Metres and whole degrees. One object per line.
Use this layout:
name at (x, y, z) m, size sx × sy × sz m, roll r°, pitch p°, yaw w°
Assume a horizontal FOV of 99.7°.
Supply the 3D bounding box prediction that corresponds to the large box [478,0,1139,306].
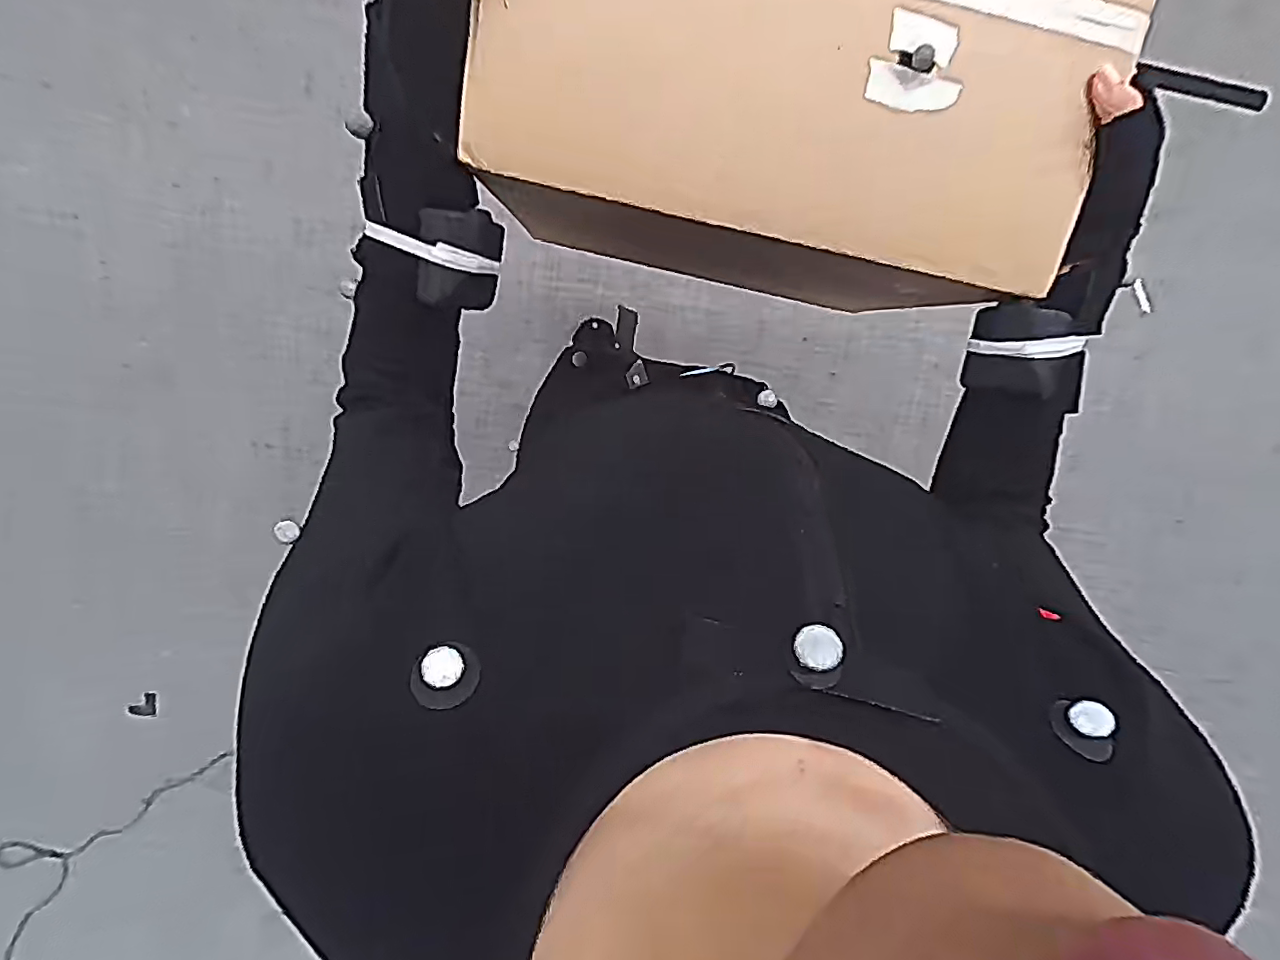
large box at (0.105, -0.352, 0.473) m, size 0.408 × 0.320 × 0.320 m, roll 10°, pitch 106°, yaw -6°
